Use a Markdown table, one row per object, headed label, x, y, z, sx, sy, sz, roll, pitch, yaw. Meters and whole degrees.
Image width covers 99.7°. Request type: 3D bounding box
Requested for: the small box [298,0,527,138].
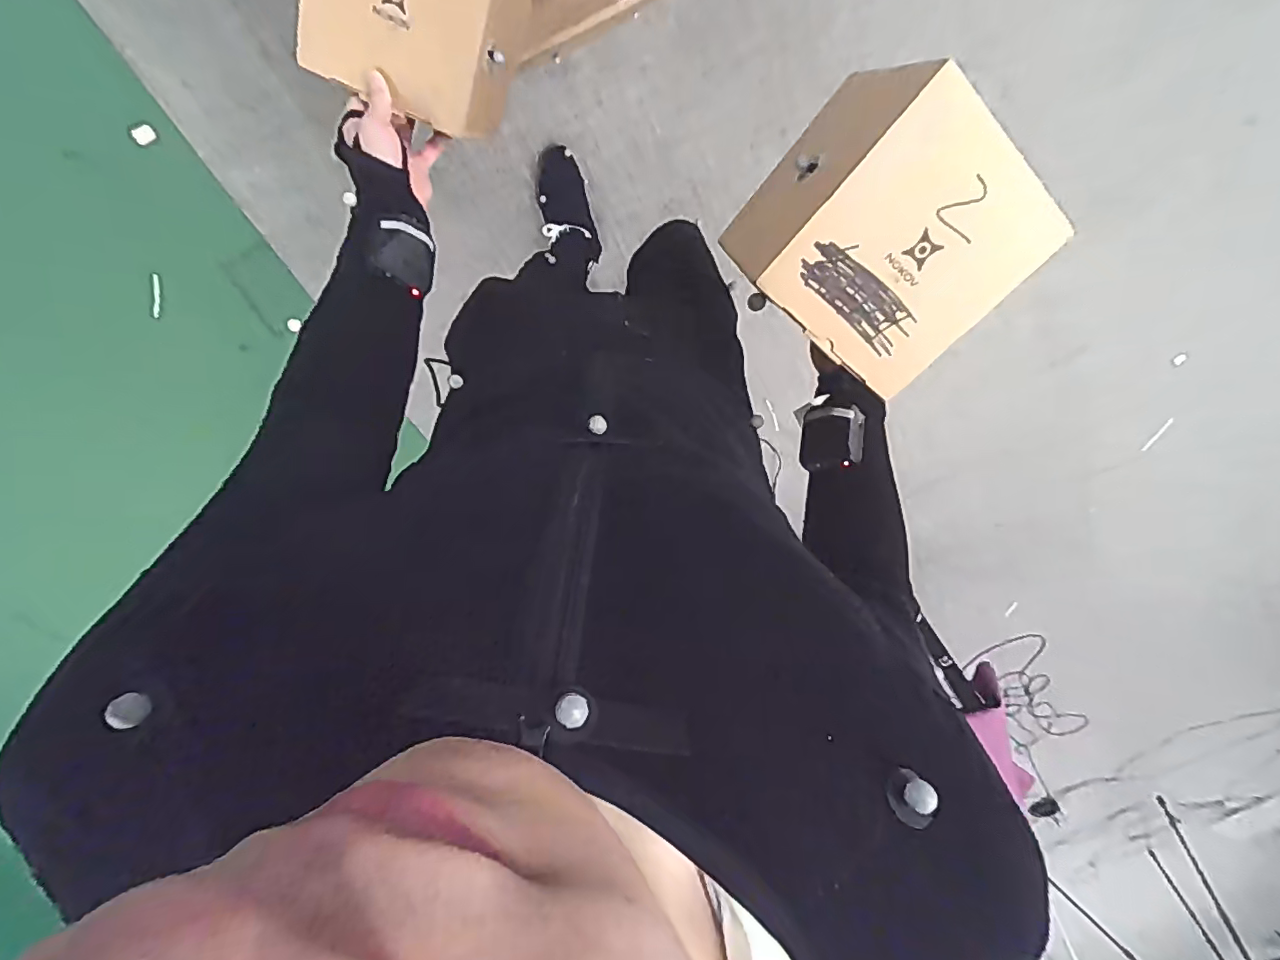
| label | x | y | z | sx | sy | sz | roll | pitch | yaw |
| --- | --- | --- | --- | --- | --- | --- | --- | --- | --- |
| small box | -0.230 | -0.493 | 0.574 | 0.168 | 0.176 | 0.179 | 19 | 120 | -12 |
